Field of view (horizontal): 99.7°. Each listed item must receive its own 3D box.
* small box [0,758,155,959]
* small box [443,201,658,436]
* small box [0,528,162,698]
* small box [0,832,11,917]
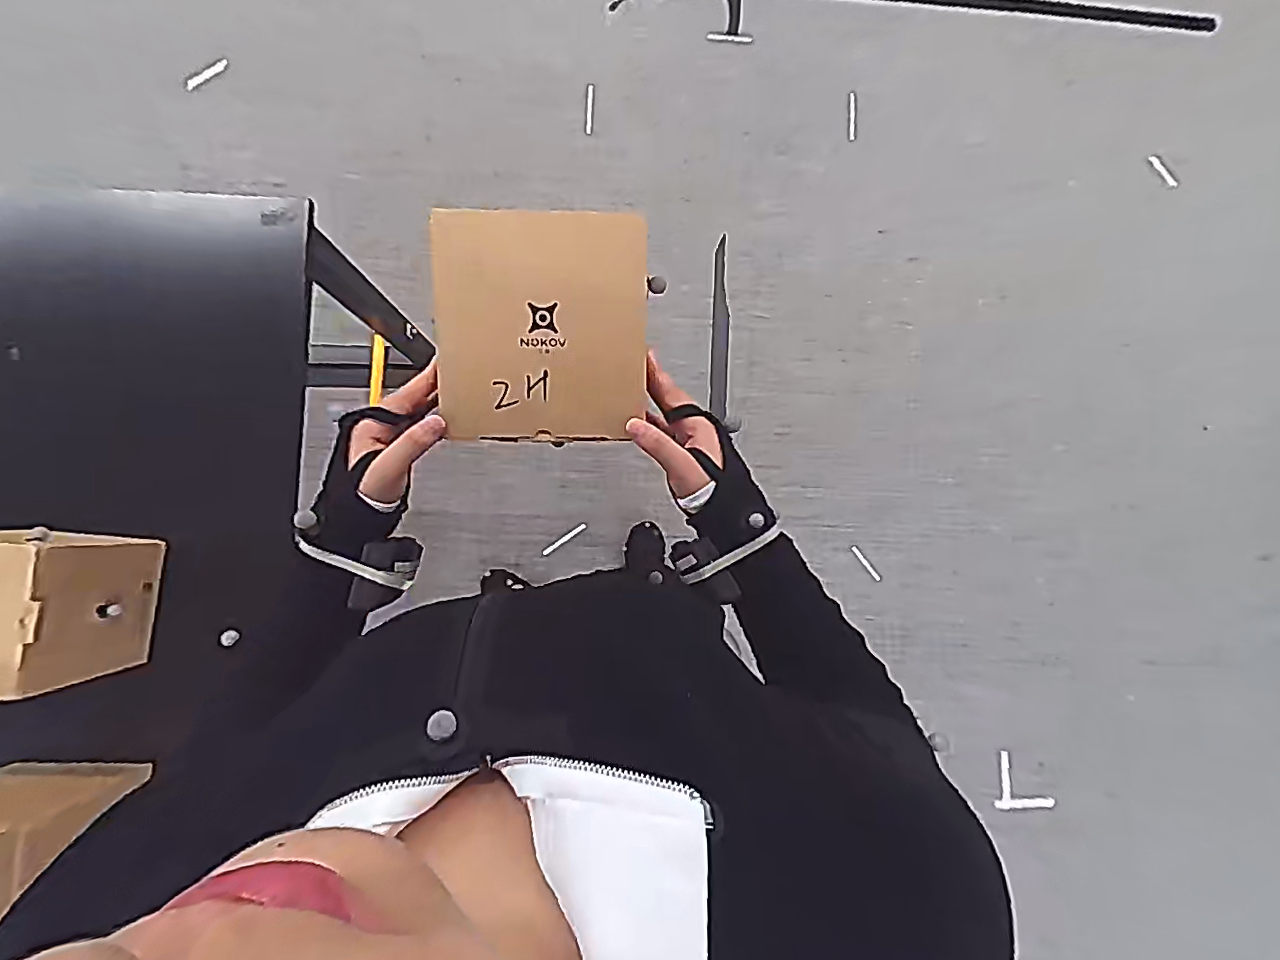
[{"bbox_3d":[-0.728,0.443,0.627,0.179,0.176,0.168,2,86,-4],"label":"small box"},{"bbox_3d":[-0.073,-0.134,0.500,0.168,0.176,0.179,1,99,-2],"label":"small box"},{"bbox_3d":[-0.736,0.147,0.650,0.179,0.176,0.168,5,85,-4],"label":"small box"},{"bbox_3d":[-0.717,0.429,0.463,0.168,0.176,0.179,1,85,-3],"label":"small box"}]
